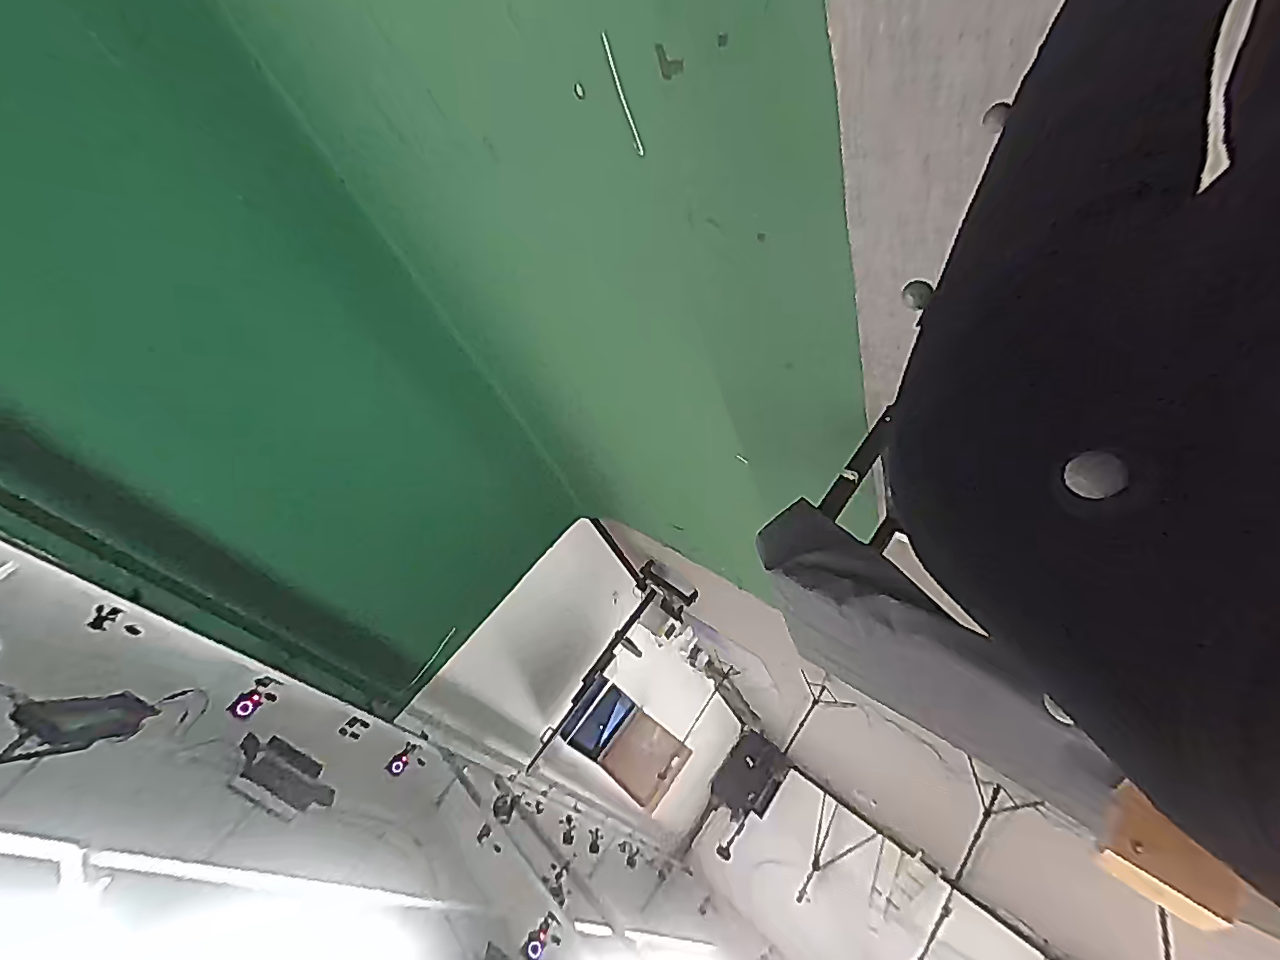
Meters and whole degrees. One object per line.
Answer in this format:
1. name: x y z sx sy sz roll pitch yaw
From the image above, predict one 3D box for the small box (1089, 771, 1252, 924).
1. small box: 1.024 0.710 1.051 0.179 0.176 0.168 25 156 41
